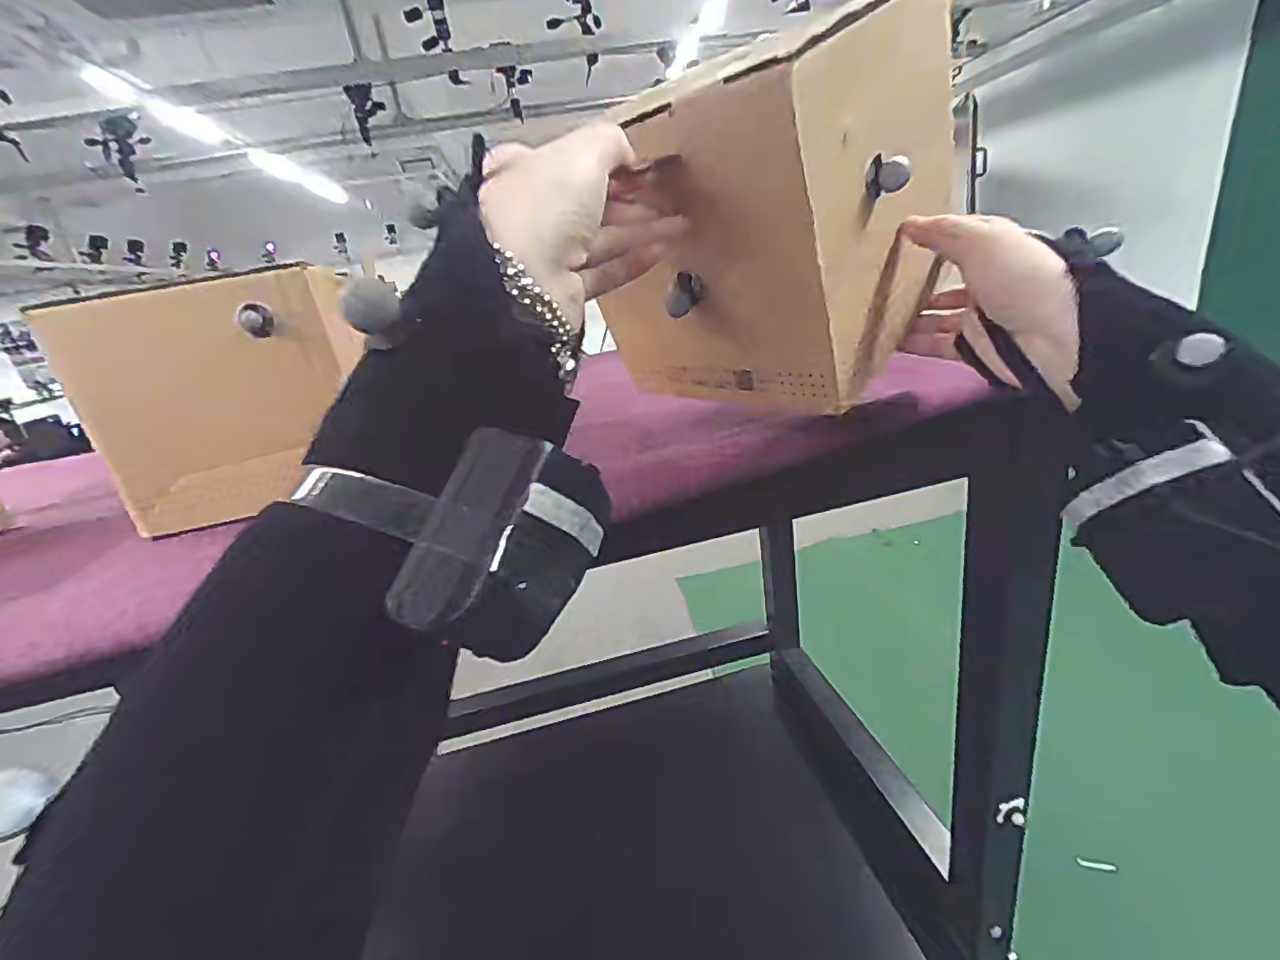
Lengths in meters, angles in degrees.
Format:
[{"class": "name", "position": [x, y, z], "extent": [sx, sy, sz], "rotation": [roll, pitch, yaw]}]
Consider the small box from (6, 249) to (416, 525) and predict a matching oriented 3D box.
[{"class": "small box", "position": [-0.309, -0.077, 0.442], "extent": [0.179, 0.176, 0.168], "rotation": [-13, 20, -7]}]

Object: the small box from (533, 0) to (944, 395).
[{"class": "small box", "position": [0.075, -0.171, 0.336], "extent": [0.168, 0.176, 0.179], "rotation": [16, 53, 42]}]
